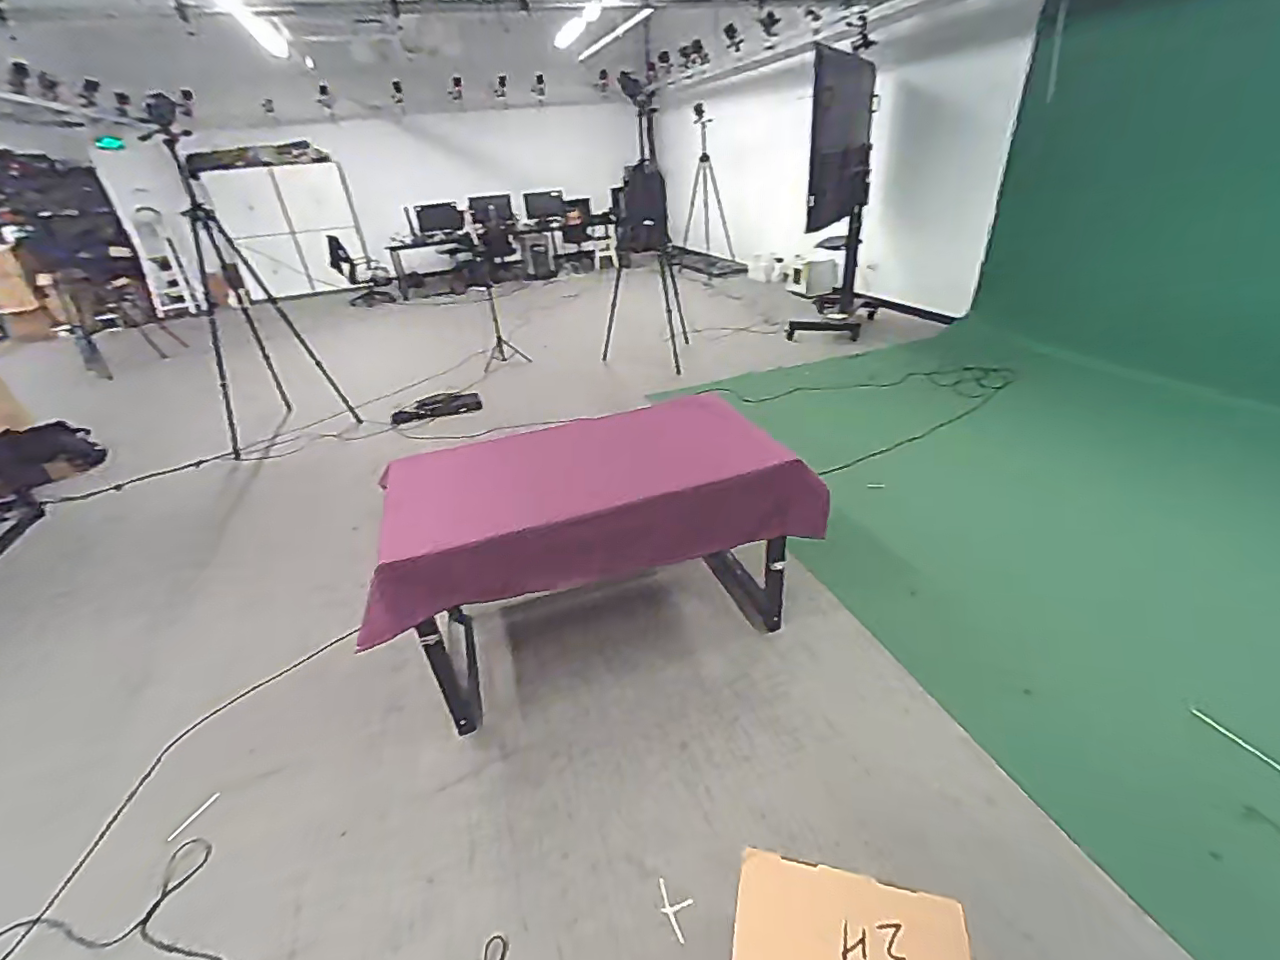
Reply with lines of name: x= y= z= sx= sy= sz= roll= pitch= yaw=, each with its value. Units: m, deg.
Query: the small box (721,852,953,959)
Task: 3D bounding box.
small box: x=0.147 y=0.440 z=0.436 sx=0.168 sy=0.176 sz=0.179 roll=6 pitch=46 yaw=15
